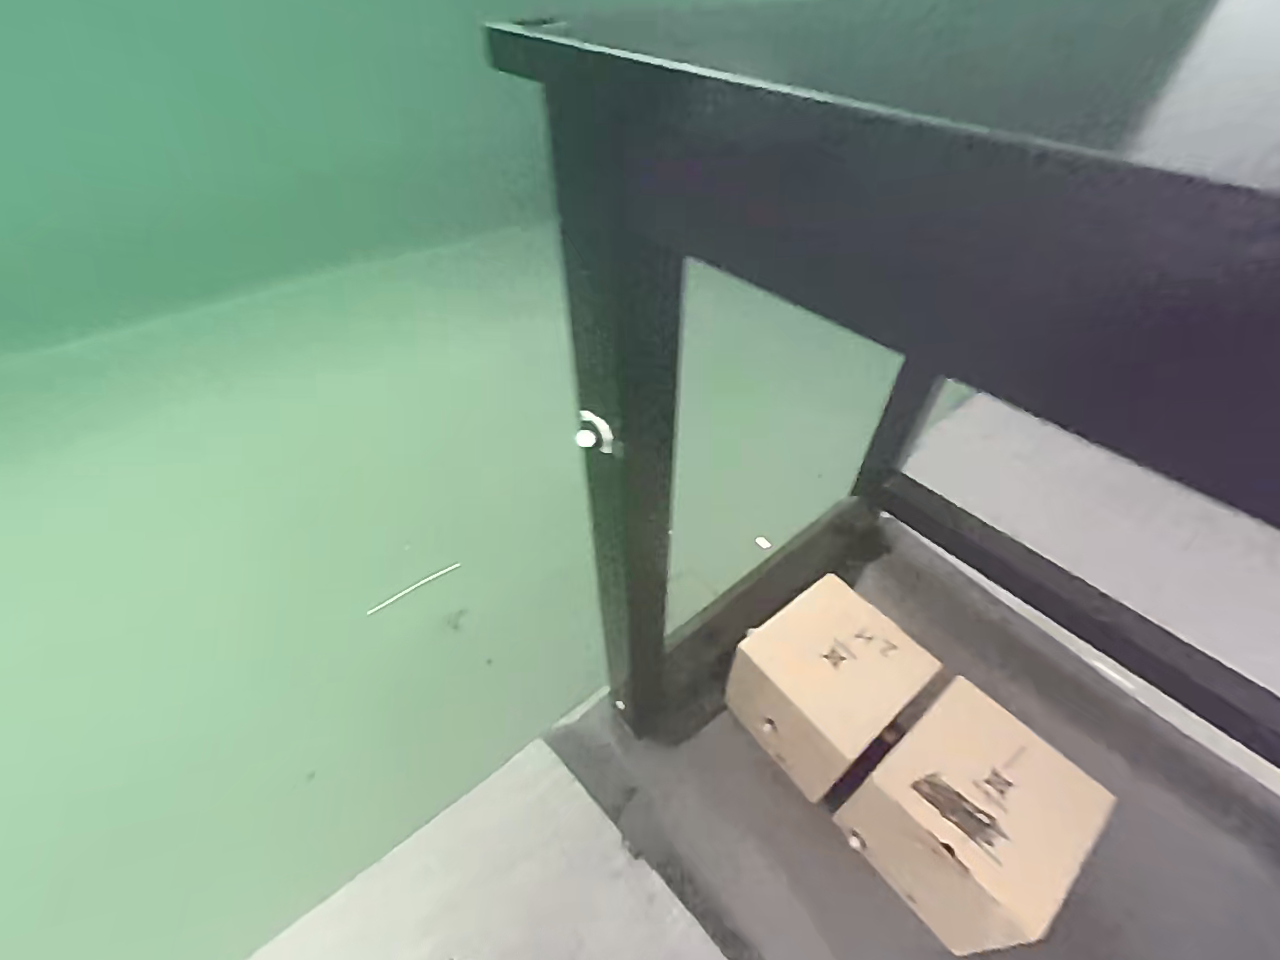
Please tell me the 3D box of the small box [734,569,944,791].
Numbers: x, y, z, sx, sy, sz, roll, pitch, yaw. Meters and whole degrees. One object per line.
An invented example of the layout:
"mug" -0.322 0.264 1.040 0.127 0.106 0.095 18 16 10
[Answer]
"small box" 0.235 0.255 0.687 0.179 0.176 0.168 -28 53 -25
